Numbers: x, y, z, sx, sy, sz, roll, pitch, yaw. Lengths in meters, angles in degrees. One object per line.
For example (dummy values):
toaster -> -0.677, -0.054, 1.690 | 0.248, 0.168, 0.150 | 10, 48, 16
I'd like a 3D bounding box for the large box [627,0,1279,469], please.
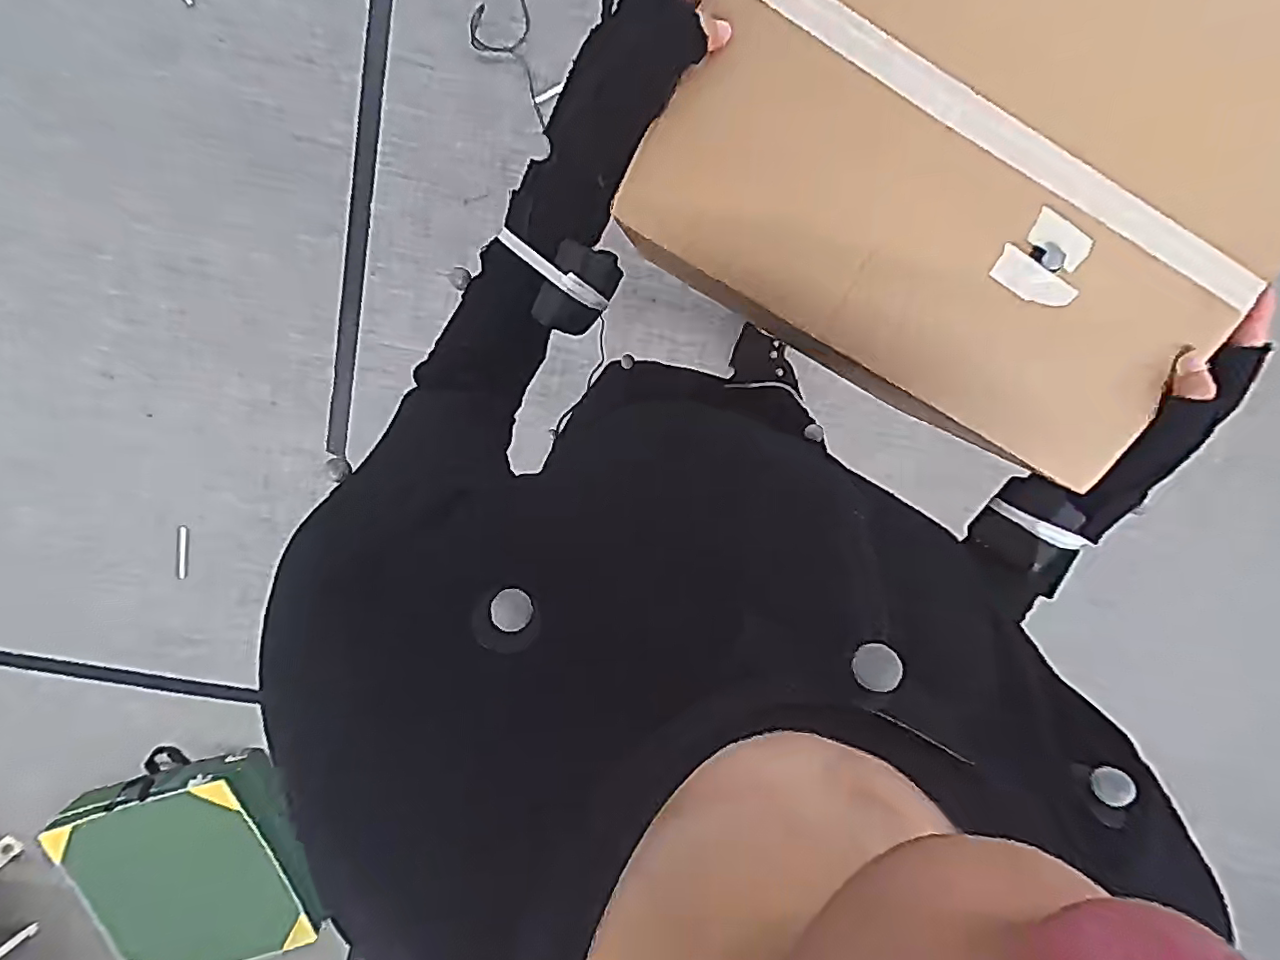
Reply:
large box -> 0.237, -0.269, 0.497 | 0.408, 0.320, 0.320 | 29, 108, -7
